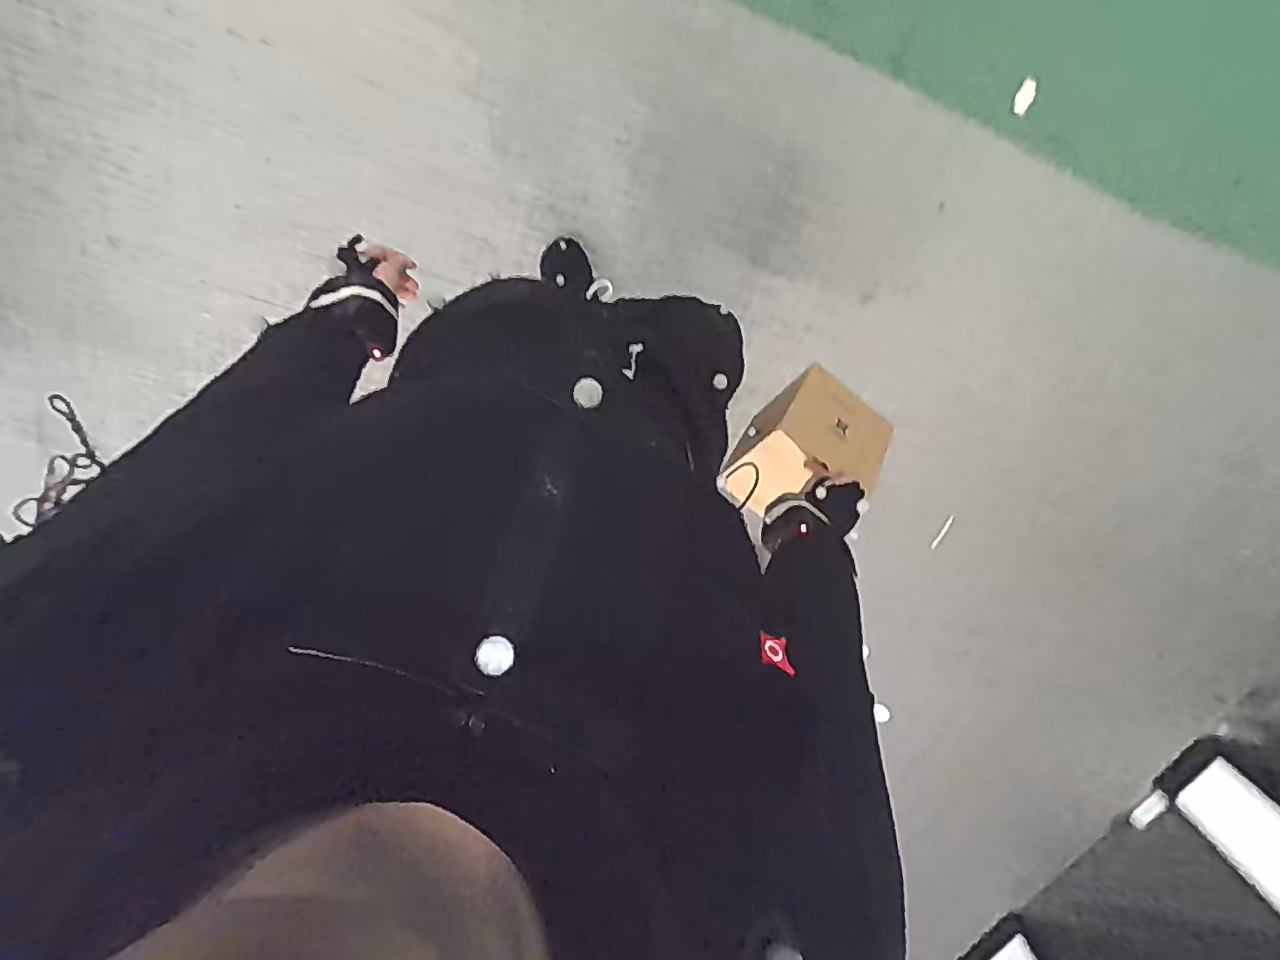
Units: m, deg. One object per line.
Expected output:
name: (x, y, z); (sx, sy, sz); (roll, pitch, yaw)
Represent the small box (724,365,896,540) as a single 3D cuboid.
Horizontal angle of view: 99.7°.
small box: (0.255, -0.035, 0.836); (0.168, 0.179, 0.176); (38, 145, -3)
